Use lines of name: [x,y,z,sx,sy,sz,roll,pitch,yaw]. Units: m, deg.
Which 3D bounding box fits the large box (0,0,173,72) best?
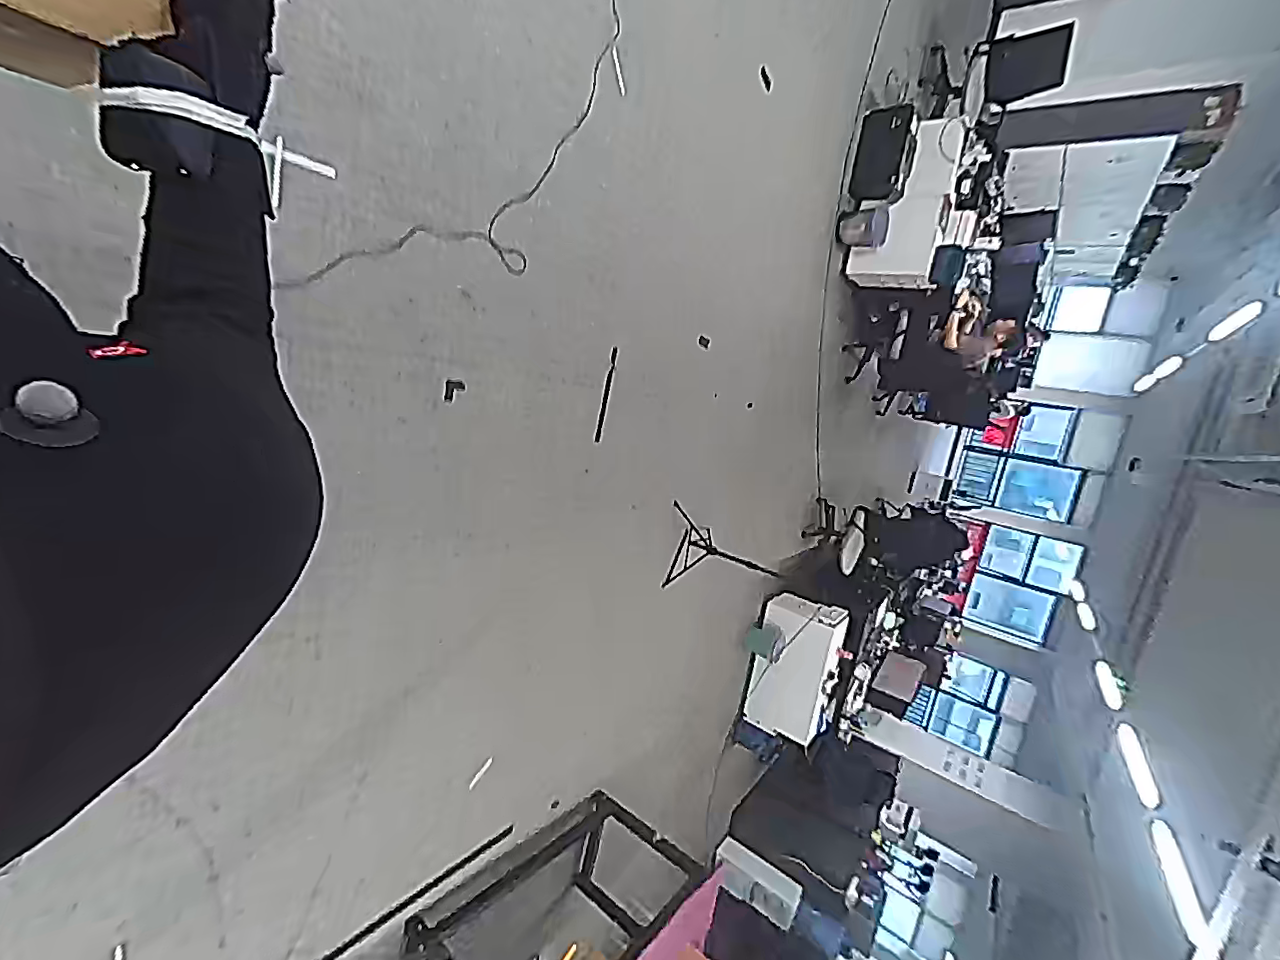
large box: [-0.516,-0.455,0.239,0.408,0.320,0.320,-10,120,-55]
